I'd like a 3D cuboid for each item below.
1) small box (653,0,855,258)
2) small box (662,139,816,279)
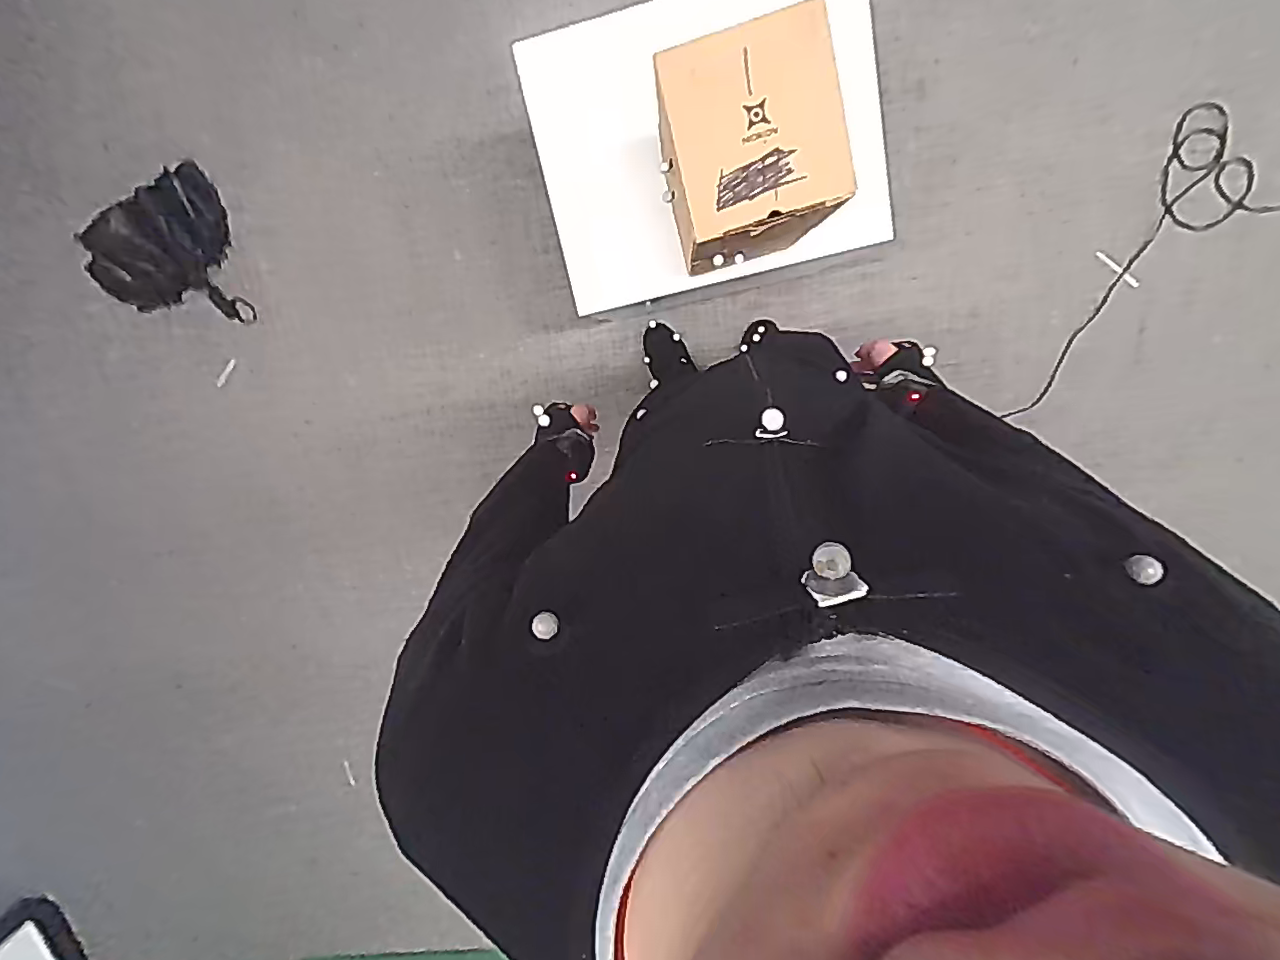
[{"bbox_3d":[0.118,-0.360,0.599,0.168,0.176,0.179,-14,102,7],"label":"small box"},{"bbox_3d":[0.130,-0.401,0.760,0.168,0.176,0.179,-15,103,8],"label":"small box"}]
